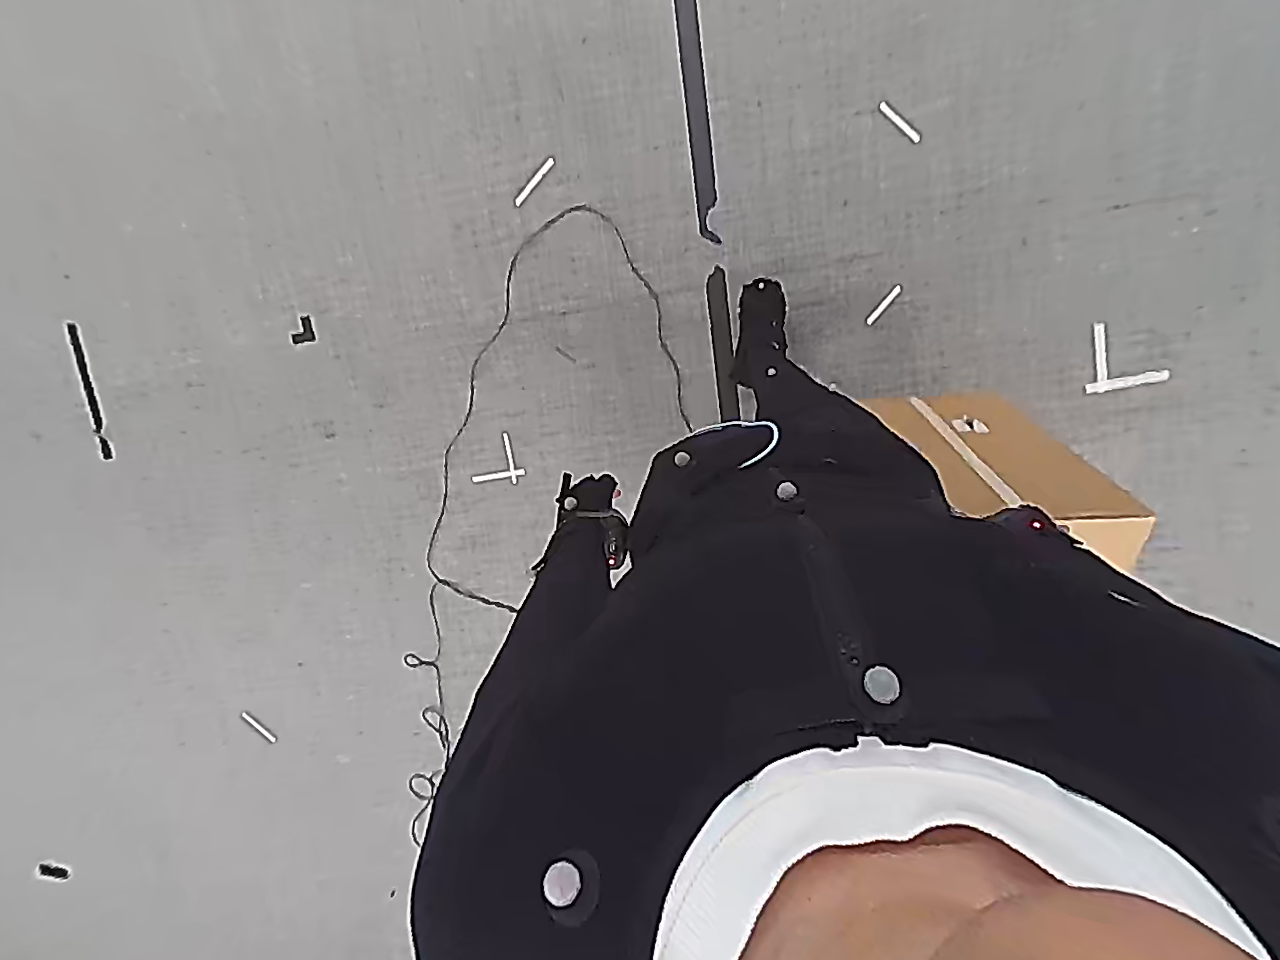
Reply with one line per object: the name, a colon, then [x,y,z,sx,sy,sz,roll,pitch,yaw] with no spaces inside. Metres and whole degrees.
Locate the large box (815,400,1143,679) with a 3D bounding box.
large box: [0.515,0.083,0.943,0.320,0.408,0.320,-2,119,4]
